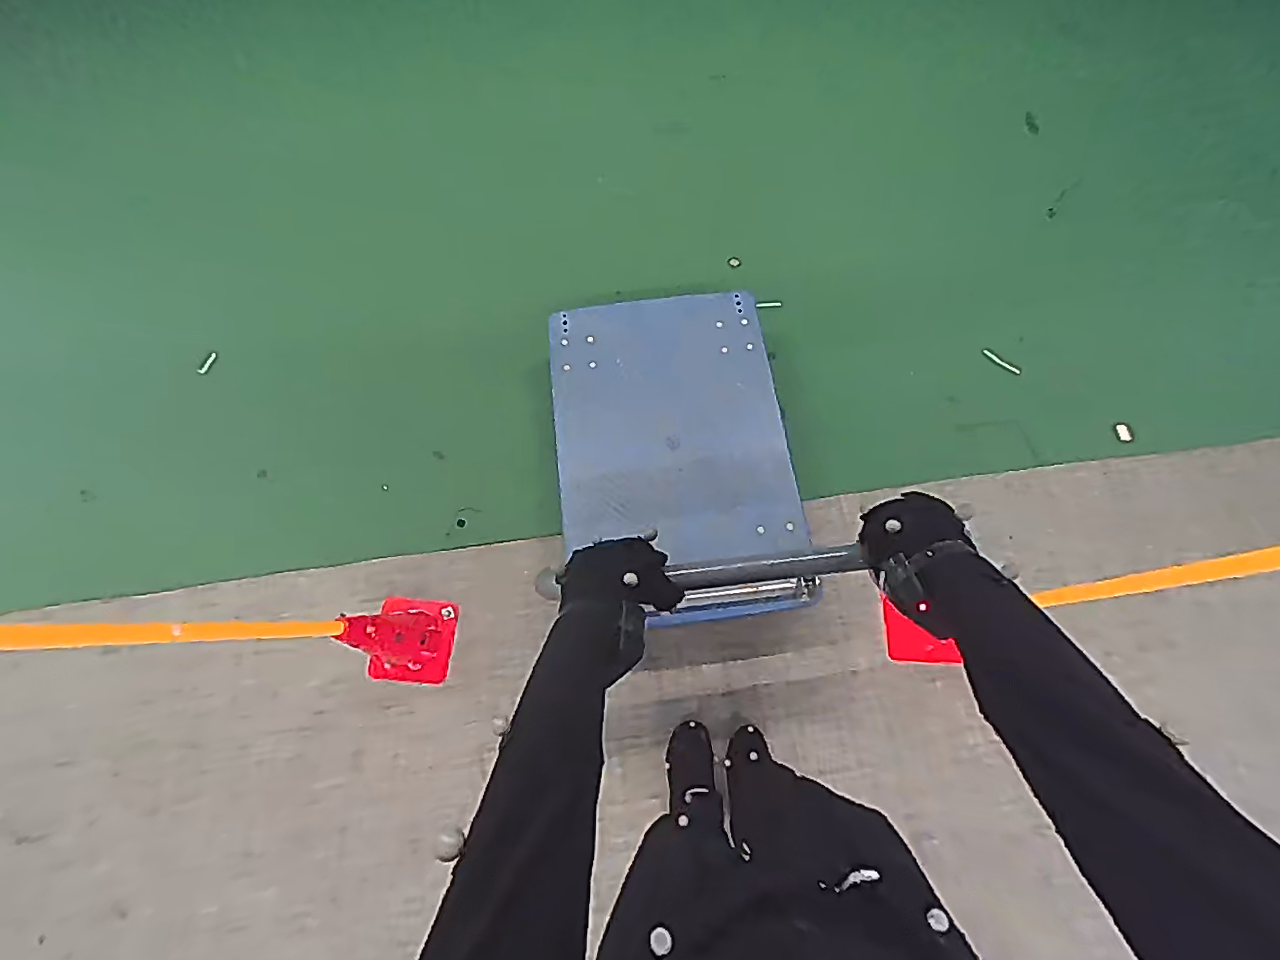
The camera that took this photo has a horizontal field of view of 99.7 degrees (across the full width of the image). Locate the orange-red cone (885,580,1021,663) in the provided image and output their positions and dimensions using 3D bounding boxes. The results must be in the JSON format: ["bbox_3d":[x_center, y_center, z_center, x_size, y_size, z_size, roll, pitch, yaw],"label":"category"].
[{"bbox_3d":[0.718,0.298,1.201,0.198,0.360,0.199,3,71,2],"label":"orange-red cone"}]
